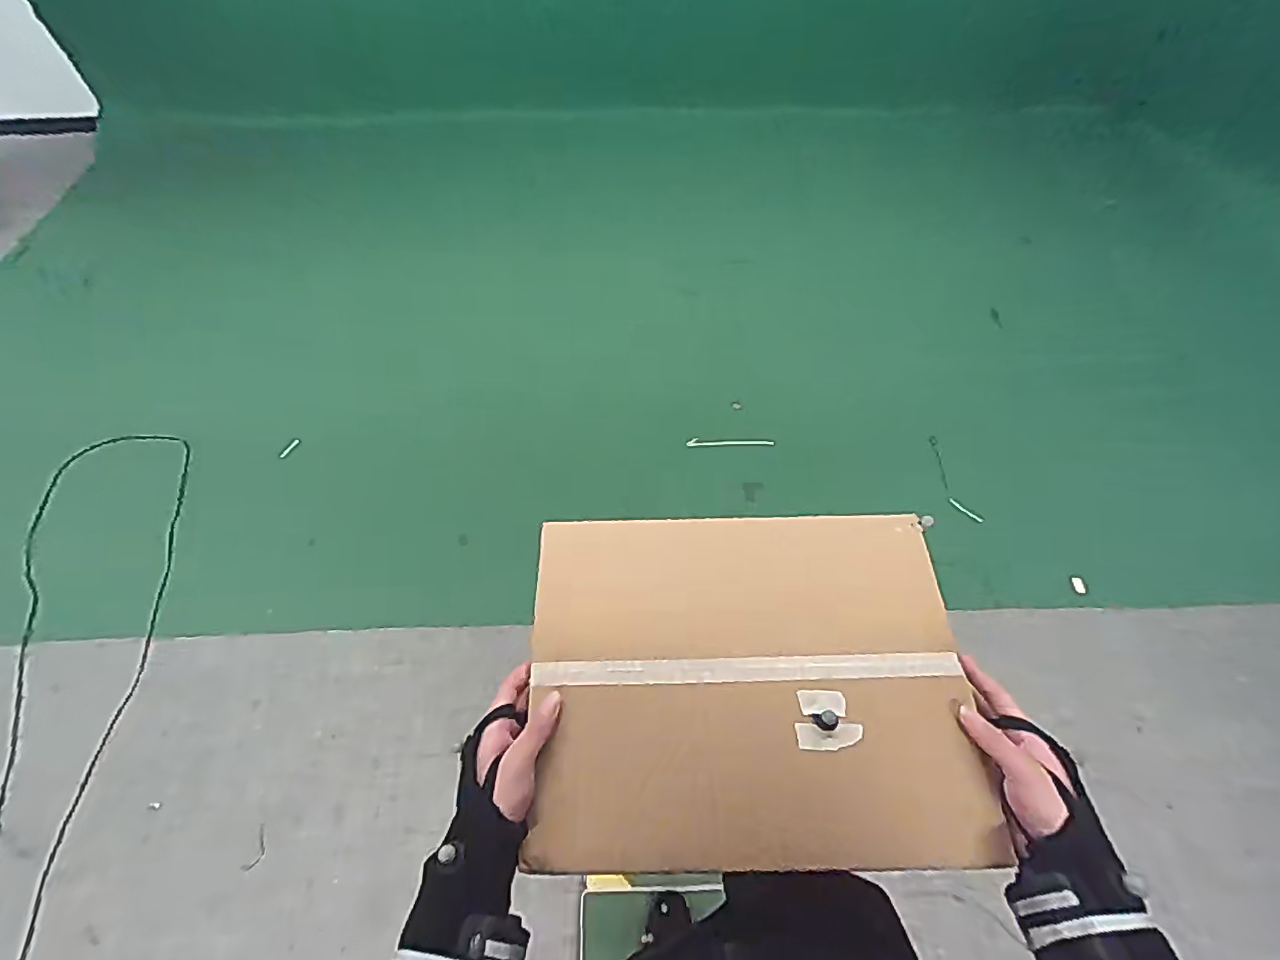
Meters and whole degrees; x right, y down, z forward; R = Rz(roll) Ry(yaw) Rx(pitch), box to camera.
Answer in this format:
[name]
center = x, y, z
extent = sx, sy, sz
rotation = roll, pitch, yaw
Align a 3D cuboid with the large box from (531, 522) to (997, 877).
[large box]
center = 0.100, 0.260, 0.654
extent = 0.408, 0.320, 0.320
rotation = -2, 62, 0
